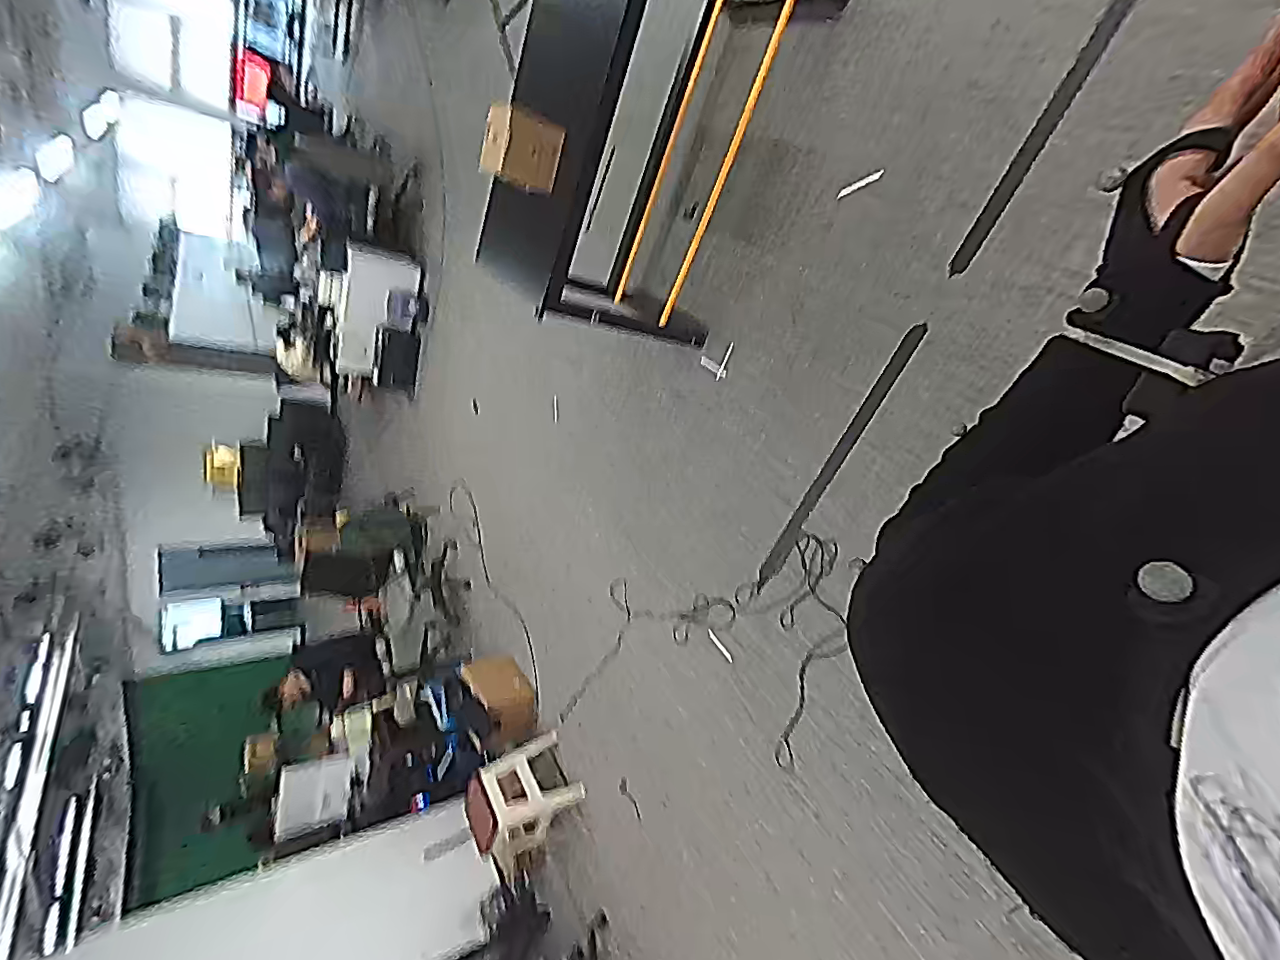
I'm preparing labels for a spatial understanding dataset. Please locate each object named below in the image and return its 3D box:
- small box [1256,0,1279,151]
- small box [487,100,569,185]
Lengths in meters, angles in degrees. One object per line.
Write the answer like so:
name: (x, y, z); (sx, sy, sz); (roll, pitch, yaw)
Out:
small box: (0.438, -0.293, 0.268); (0.168, 0.176, 0.179); (4, 107, 47)
small box: (-0.330, -0.993, 1.598); (0.179, 0.176, 0.168); (42, 121, 43)
